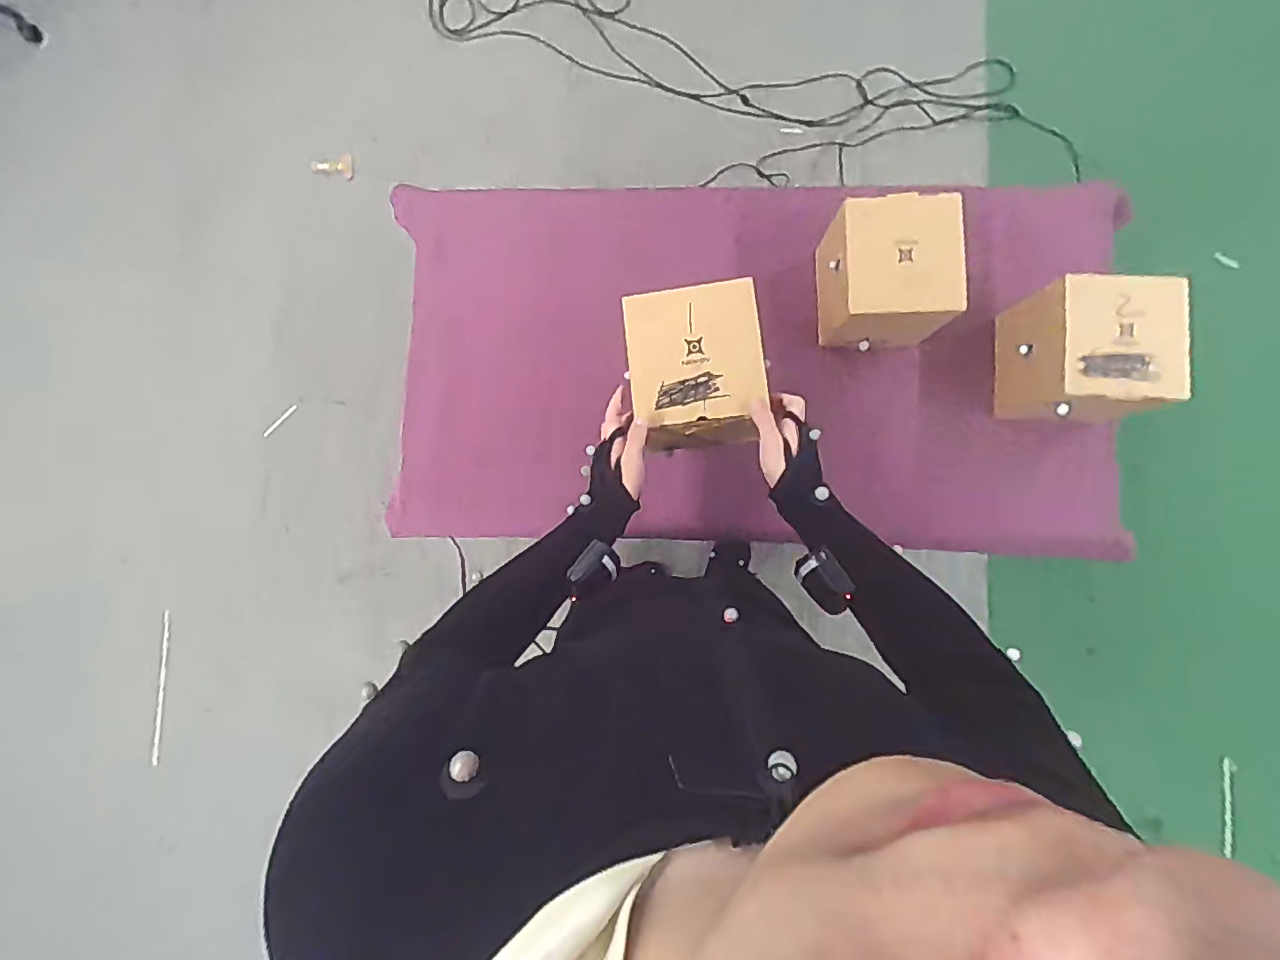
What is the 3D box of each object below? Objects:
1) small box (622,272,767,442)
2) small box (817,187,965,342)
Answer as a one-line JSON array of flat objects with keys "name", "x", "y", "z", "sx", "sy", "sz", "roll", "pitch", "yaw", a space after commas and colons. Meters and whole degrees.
[{"name": "small box", "x": 0.074, "y": -0.151, "z": 0.733, "sx": 0.168, "sy": 0.176, "sz": 0.179, "roll": -6, "pitch": 83, "yaw": 6}, {"name": "small box", "x": 0.383, "y": -0.329, "z": 0.852, "sx": 0.168, "sy": 0.176, "sz": 0.179, "roll": 0, "pitch": 87, "yaw": 3}]
